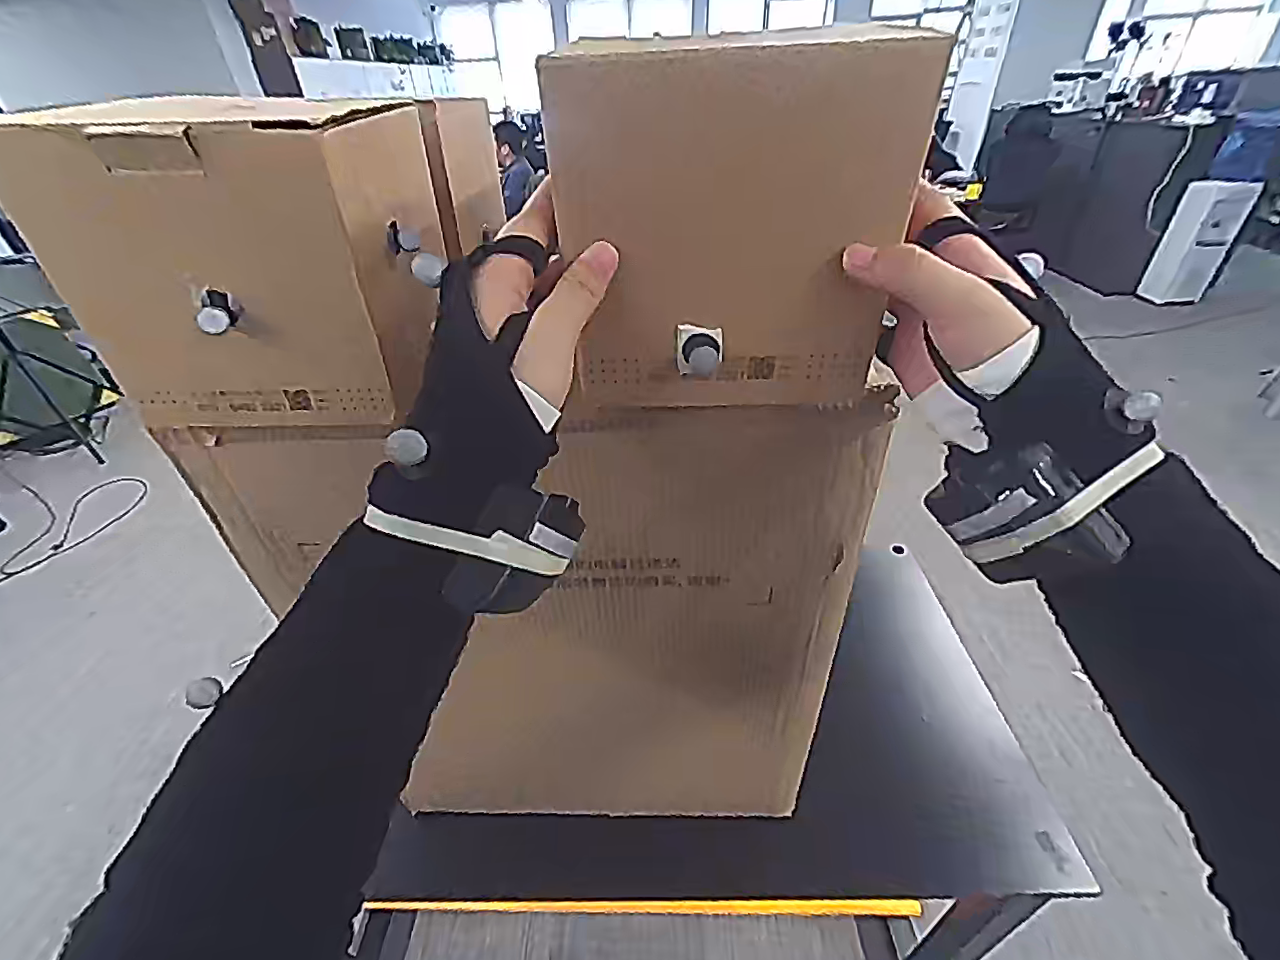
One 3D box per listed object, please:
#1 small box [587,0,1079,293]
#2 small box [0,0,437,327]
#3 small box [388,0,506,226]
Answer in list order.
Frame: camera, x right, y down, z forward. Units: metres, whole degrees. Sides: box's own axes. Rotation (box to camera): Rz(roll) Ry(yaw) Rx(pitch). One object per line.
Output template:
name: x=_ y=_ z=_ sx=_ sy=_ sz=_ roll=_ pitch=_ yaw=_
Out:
small box: x=0.064 y=-0.200 z=0.248 sx=0.168 sy=0.176 sz=0.179 roll=-3 pitch=42 yaw=2
small box: x=-0.221 y=-0.191 z=0.286 sx=0.168 sy=0.176 sz=0.179 roll=-2 pitch=40 yaw=-4
small box: x=-0.226 y=-0.313 z=0.451 sx=0.179 sy=0.176 sz=0.168 roll=0 pitch=36 yaw=2
